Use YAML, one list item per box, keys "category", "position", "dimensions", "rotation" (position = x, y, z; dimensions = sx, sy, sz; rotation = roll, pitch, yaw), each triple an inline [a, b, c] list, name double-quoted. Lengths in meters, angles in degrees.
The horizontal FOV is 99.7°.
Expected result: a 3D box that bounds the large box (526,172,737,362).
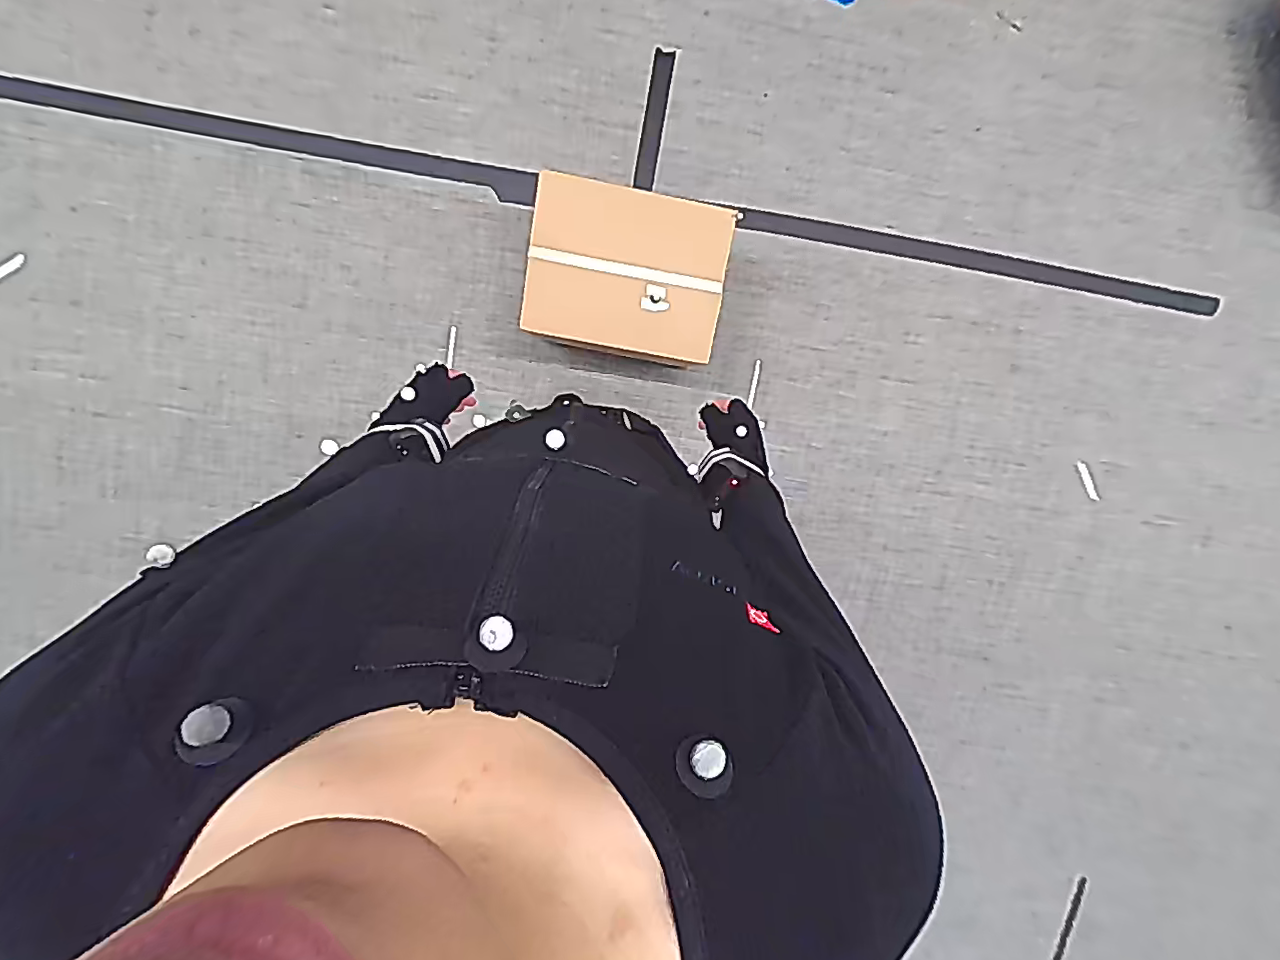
- category: "large box"
  position: [-0.031, -0.463, 1.256]
  dimensions: [0.408, 0.320, 0.320]
  rotation: [9, 101, -6]
